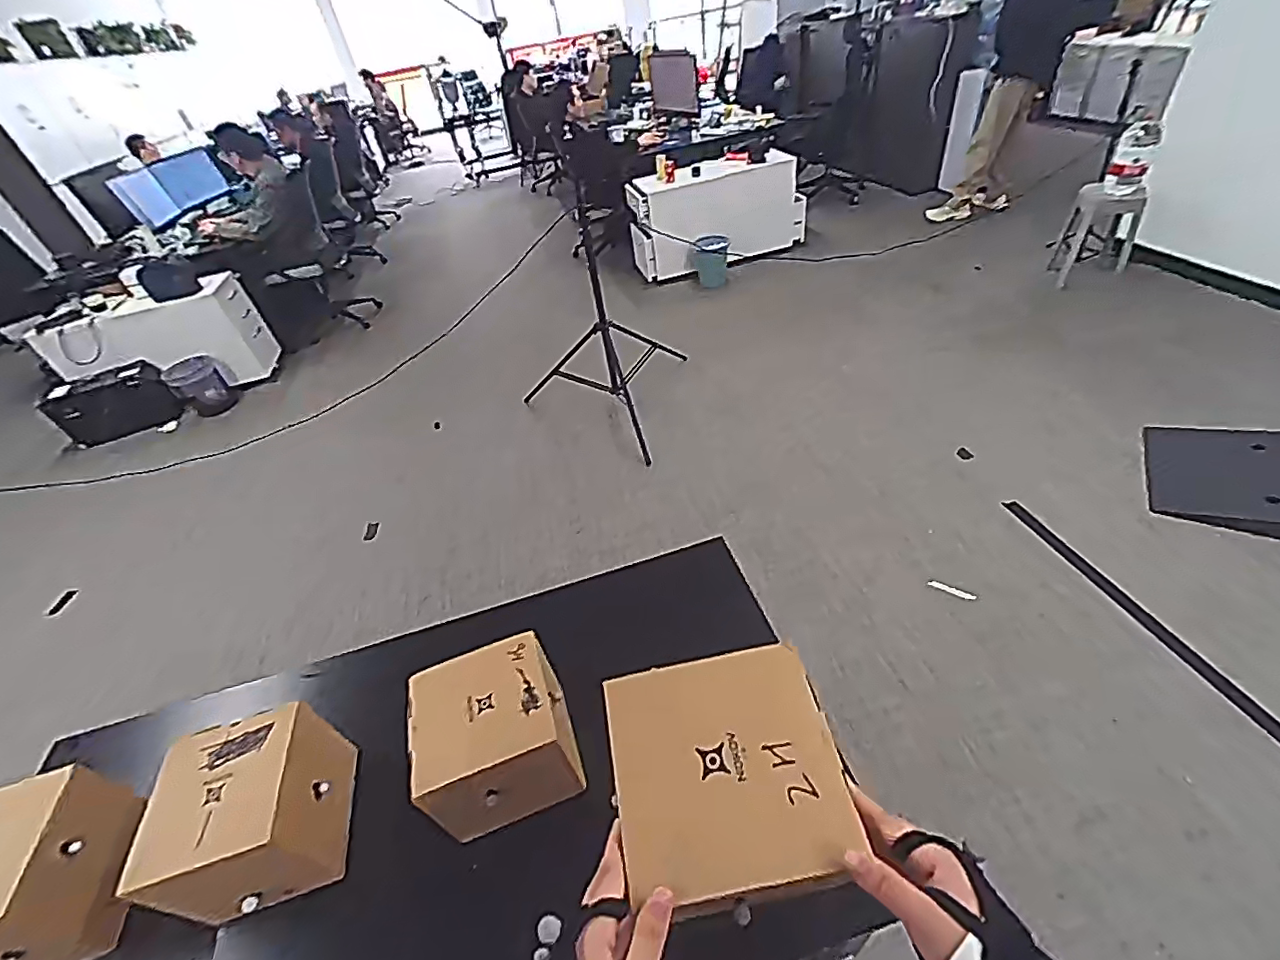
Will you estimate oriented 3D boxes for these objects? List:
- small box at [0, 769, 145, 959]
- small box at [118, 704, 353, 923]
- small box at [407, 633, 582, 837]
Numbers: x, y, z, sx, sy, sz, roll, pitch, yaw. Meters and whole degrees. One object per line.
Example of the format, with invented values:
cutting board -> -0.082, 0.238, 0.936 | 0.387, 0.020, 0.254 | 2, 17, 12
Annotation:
small box -> -0.778, 0.511, 0.683 | 0.168, 0.176, 0.179 | -16, 41, -9
small box -> -0.502, 0.435, 0.709 | 0.168, 0.176, 0.179 | -17, 42, -7
small box -> -0.197, 0.350, 0.741 | 0.179, 0.176, 0.168 | -20, 42, -9
